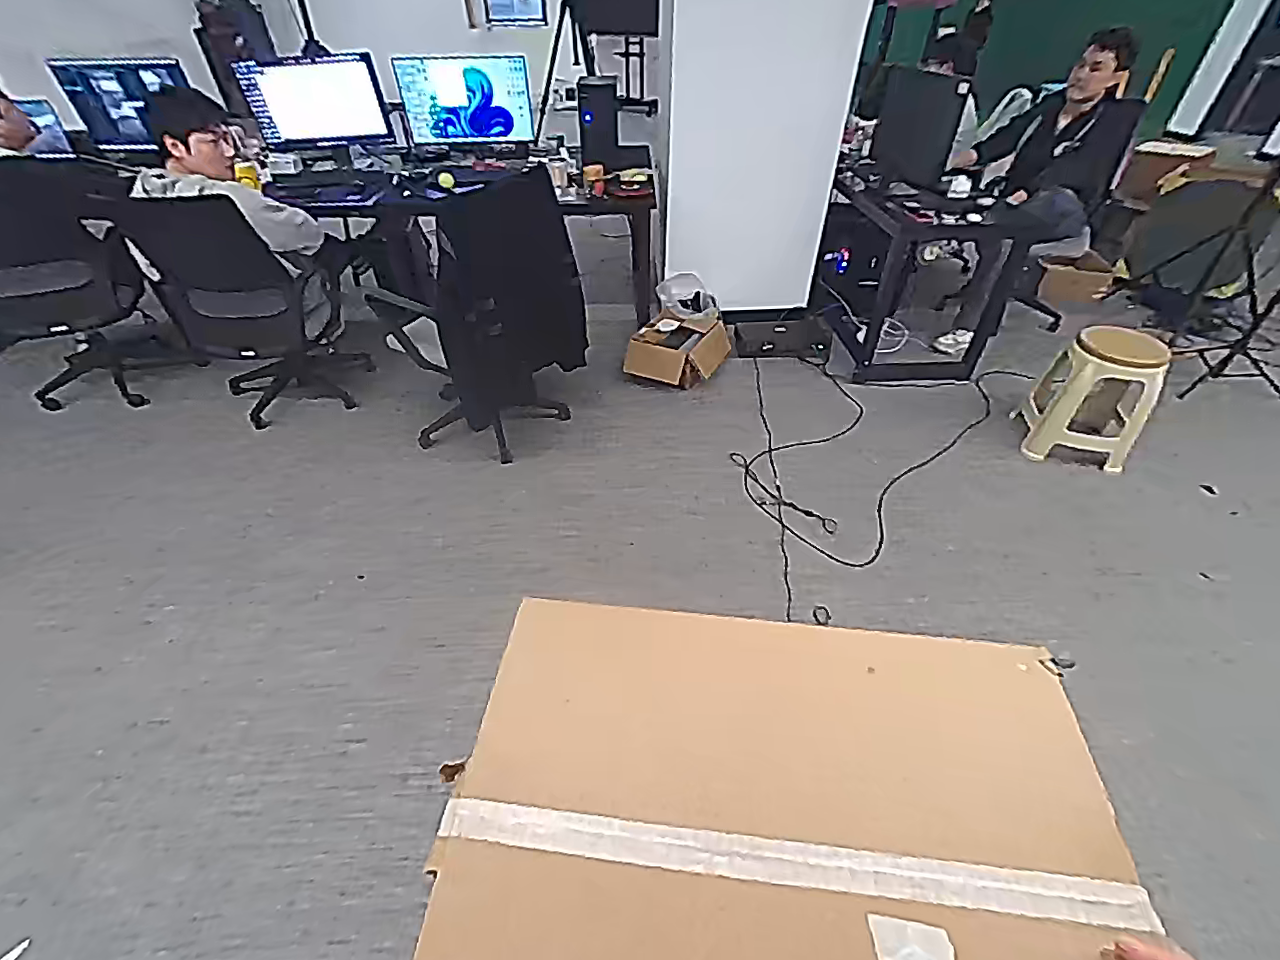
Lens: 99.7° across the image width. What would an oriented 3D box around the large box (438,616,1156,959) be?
[{"bbox_3d":[0.089,0.336,0.438,0.408,0.320,0.320,4,48,5],"label":"large box"}]
